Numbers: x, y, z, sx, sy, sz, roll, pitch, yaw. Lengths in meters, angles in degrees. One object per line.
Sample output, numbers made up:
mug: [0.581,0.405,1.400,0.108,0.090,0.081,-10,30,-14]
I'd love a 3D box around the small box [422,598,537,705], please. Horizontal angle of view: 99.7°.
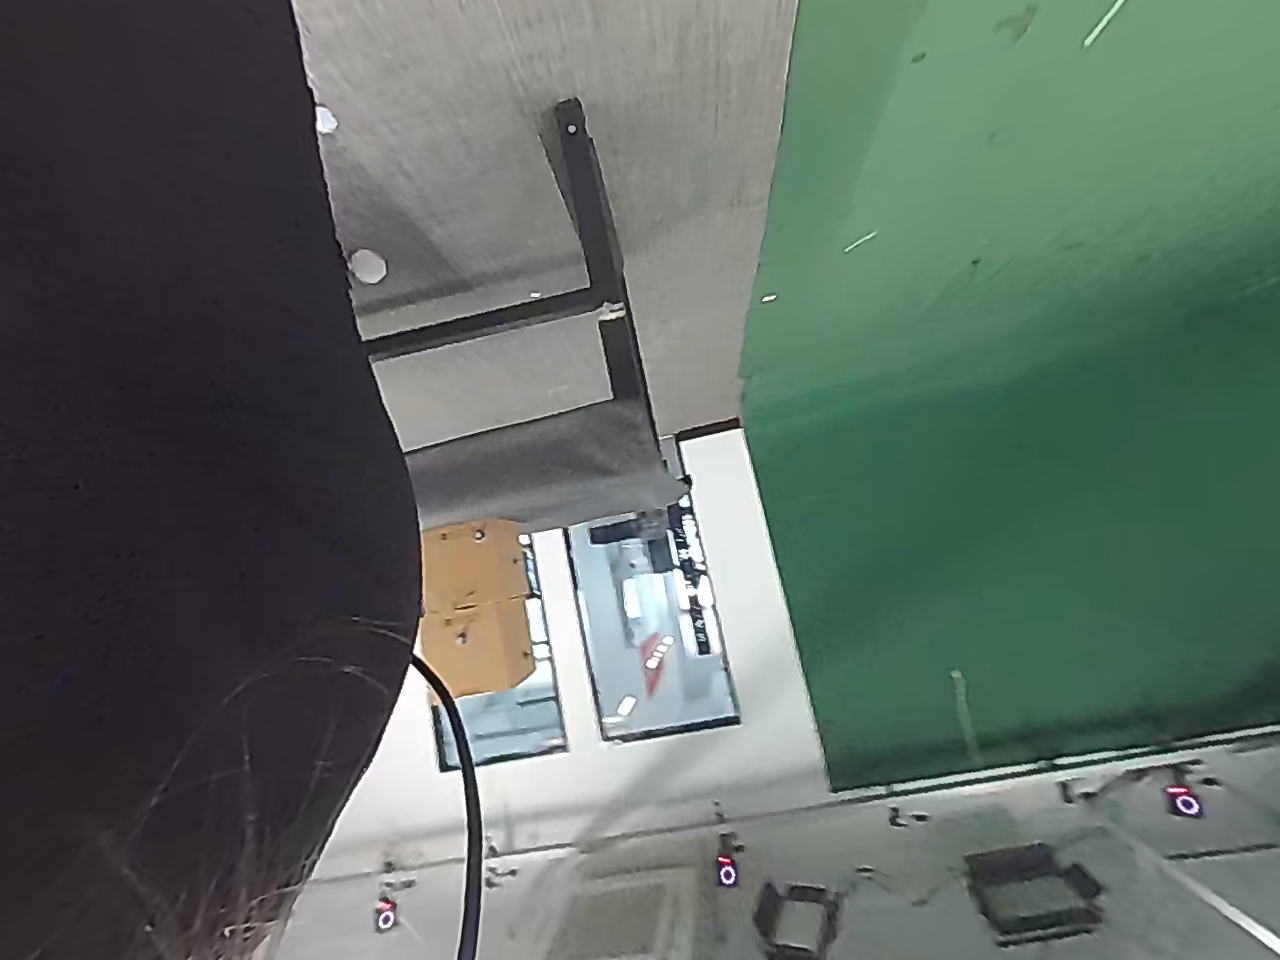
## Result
small box: [-0.328,0.344,1.122,0.168,0.176,0.179,-13,172,5]

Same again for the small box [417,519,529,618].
small box: [-0.347,0.180,1.136,0.168,0.176,0.179,-12,172,2]
